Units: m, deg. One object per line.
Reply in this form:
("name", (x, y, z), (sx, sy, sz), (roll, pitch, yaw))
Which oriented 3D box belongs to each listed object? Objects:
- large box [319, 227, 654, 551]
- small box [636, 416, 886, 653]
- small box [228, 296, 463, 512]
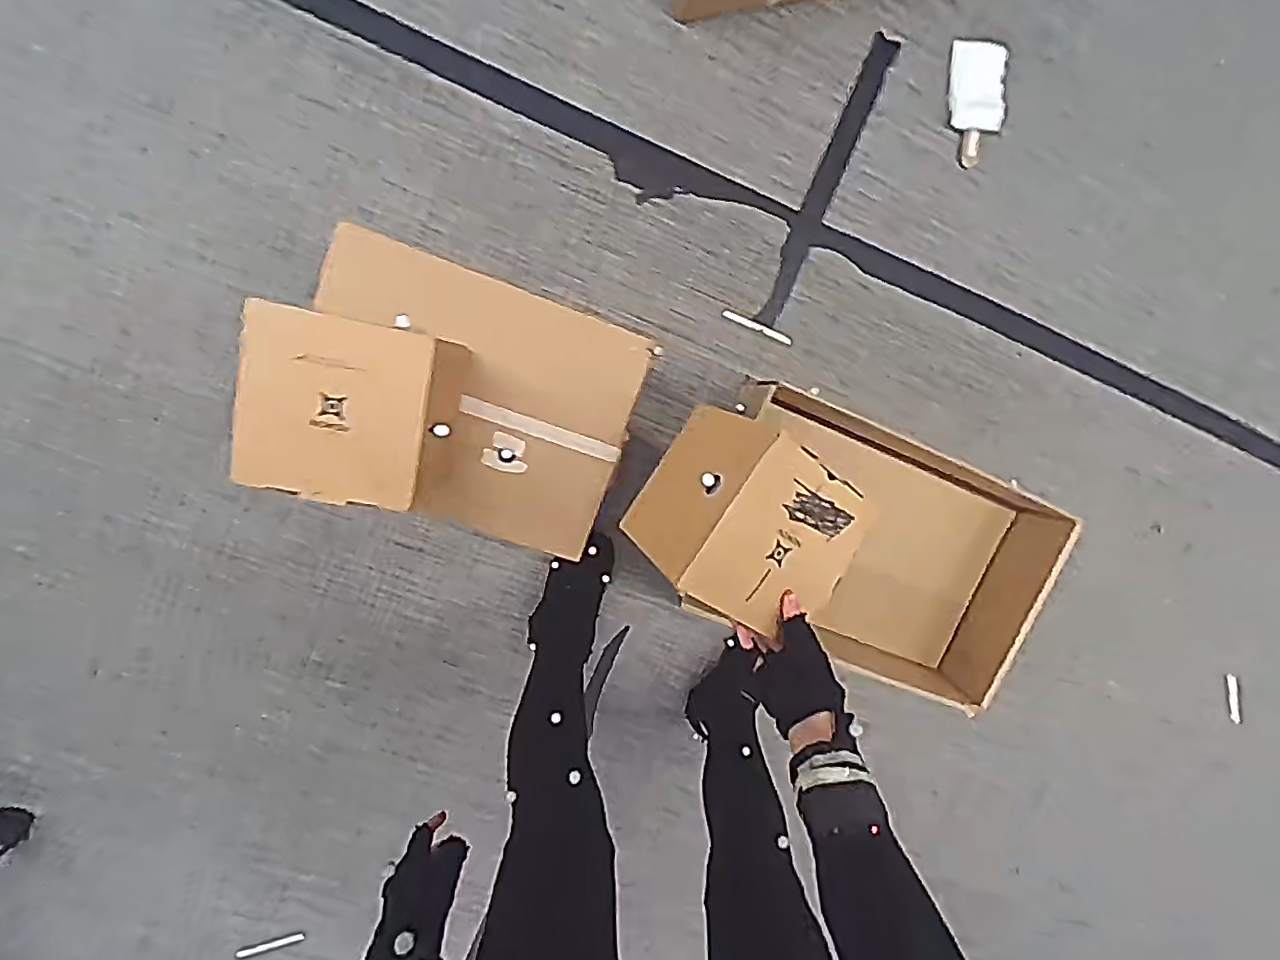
("large box", (-0.231, -0.126, 0.829), (0.408, 0.320, 0.320), (18, 99, -9))
("small box", (0.120, 0.048, 0.597), (0.168, 0.176, 0.179), (34, 92, -25))
("small box", (-0.299, -0.081, 0.583), (0.168, 0.176, 0.179), (10, 99, -8))
